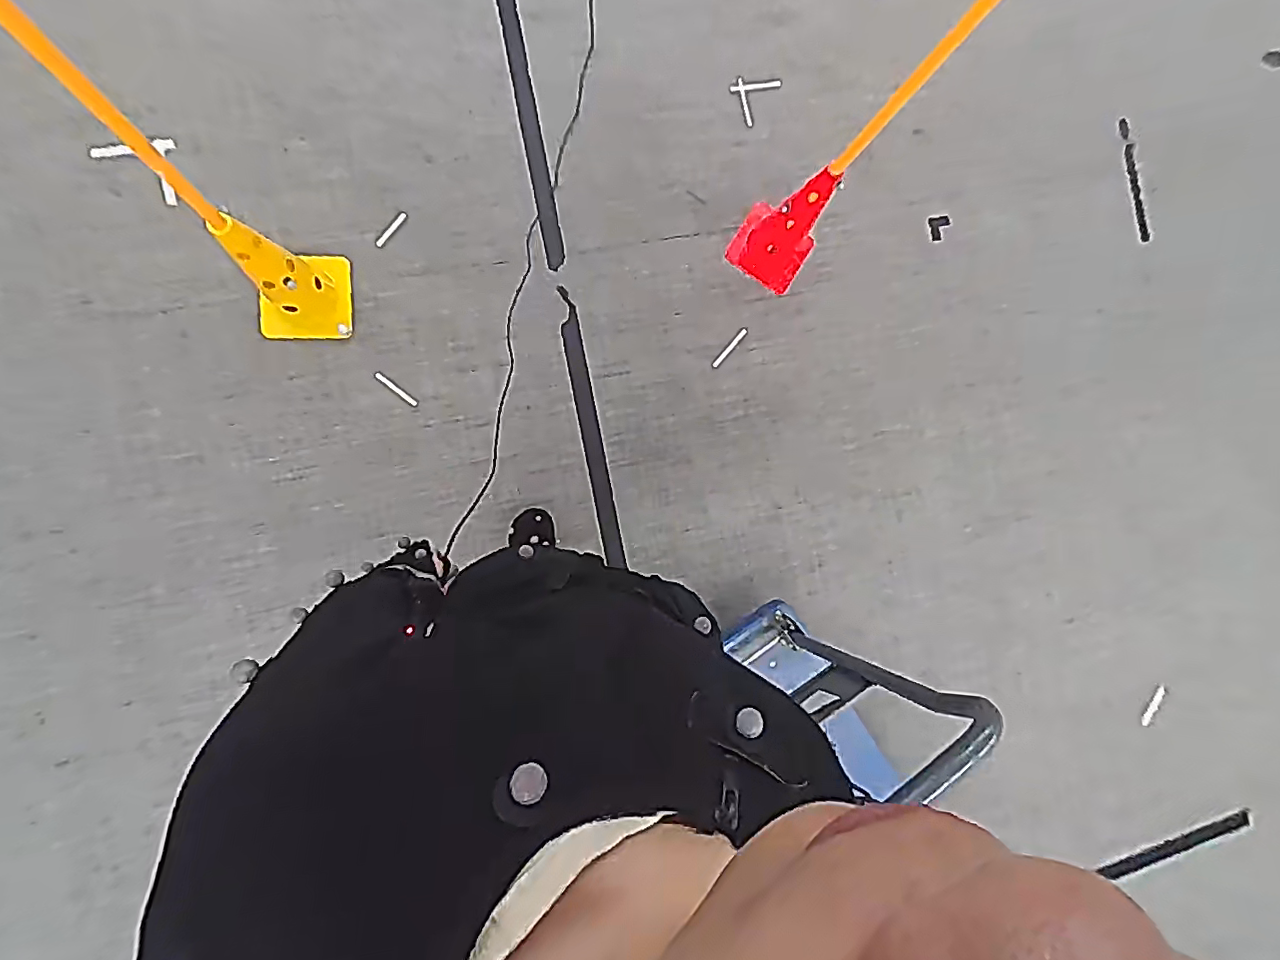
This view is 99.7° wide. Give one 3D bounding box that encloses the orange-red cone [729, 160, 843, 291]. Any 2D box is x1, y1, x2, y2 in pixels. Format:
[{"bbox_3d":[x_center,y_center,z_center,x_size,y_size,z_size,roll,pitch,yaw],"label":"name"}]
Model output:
[{"bbox_3d":[0.387,-0.648,1.314,0.198,0.360,0.199,34,83,-5],"label":"orange-red cone"}]
